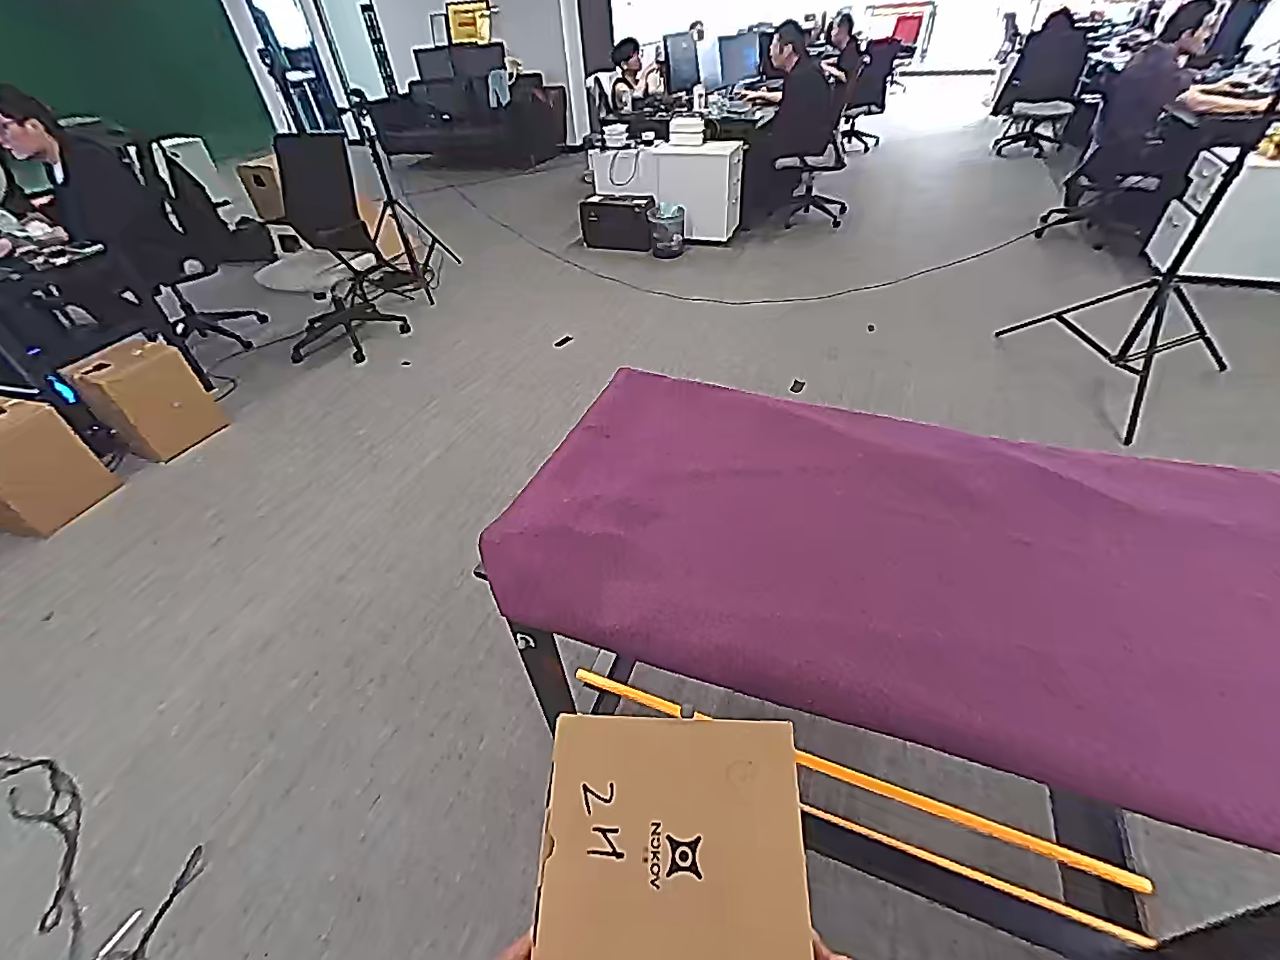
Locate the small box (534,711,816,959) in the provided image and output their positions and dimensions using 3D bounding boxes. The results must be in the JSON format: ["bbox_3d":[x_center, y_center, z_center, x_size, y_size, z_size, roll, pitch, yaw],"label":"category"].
[{"bbox_3d":[0.029,0.285,0.430,0.179,0.176,0.168,0,59,6],"label":"small box"}]
